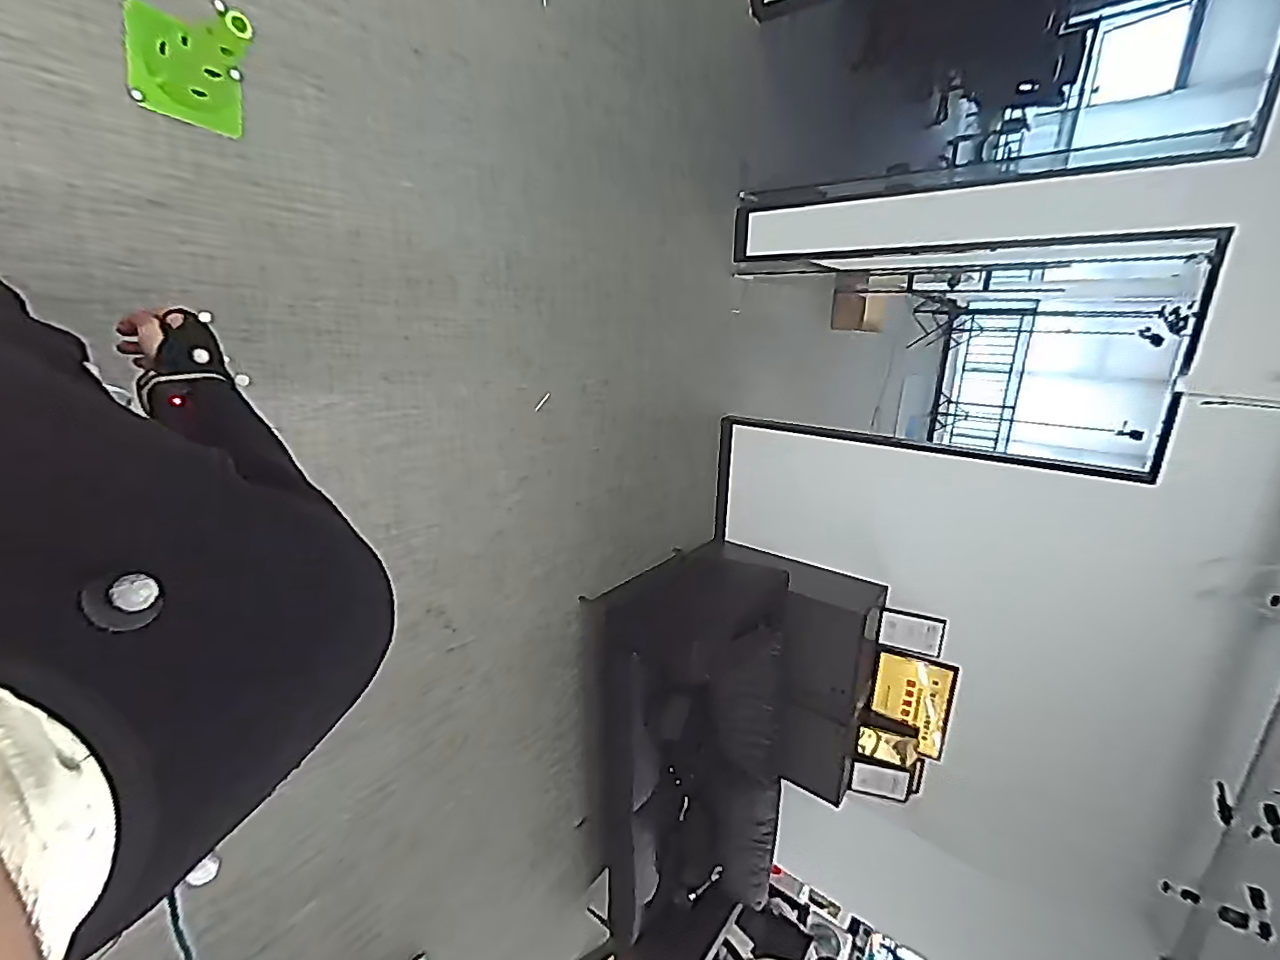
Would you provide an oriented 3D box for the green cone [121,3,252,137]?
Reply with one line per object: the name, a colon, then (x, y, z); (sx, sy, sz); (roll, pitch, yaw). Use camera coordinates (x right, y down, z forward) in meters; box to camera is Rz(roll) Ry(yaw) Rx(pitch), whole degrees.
green cone: (-0.872, -0.870, 1.098); (0.200, 0.368, 0.202); (-10, 108, -52)
